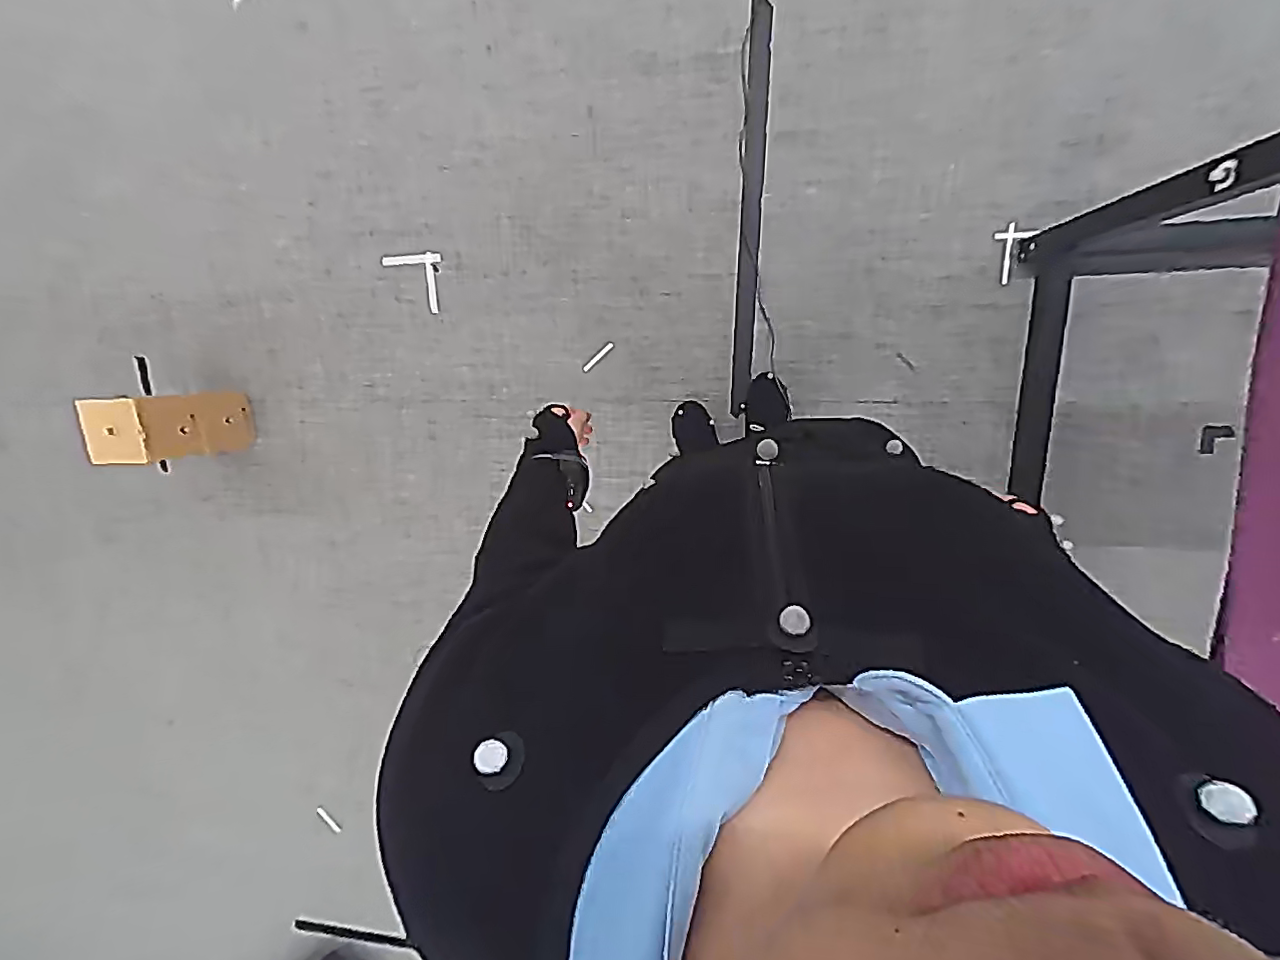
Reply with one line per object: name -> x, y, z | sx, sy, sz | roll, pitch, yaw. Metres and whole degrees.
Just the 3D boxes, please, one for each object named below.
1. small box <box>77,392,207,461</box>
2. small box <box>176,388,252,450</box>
small box -> -1.316, -0.145, 1.440 | 0.179, 0.176, 0.168 | -1, 103, 8
small box -> -1.291, -0.181, 1.597 | 0.179, 0.176, 0.168 | -2, 102, 10
